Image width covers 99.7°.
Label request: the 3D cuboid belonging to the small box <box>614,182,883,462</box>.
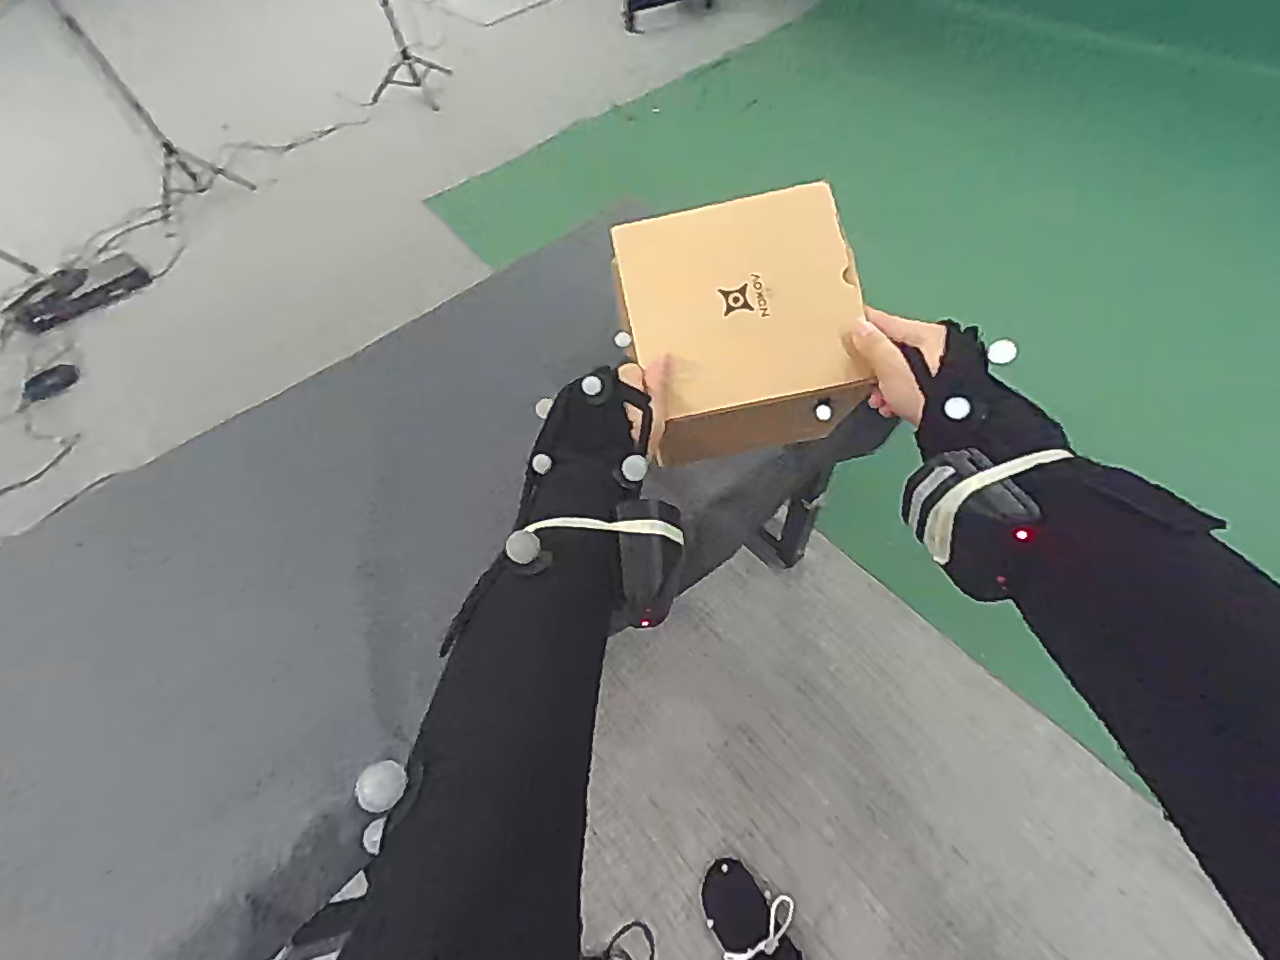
[{"bbox_3d":[0.082,-0.121,0.480,0.179,0.176,0.168,-10,79,1],"label":"small box"}]
